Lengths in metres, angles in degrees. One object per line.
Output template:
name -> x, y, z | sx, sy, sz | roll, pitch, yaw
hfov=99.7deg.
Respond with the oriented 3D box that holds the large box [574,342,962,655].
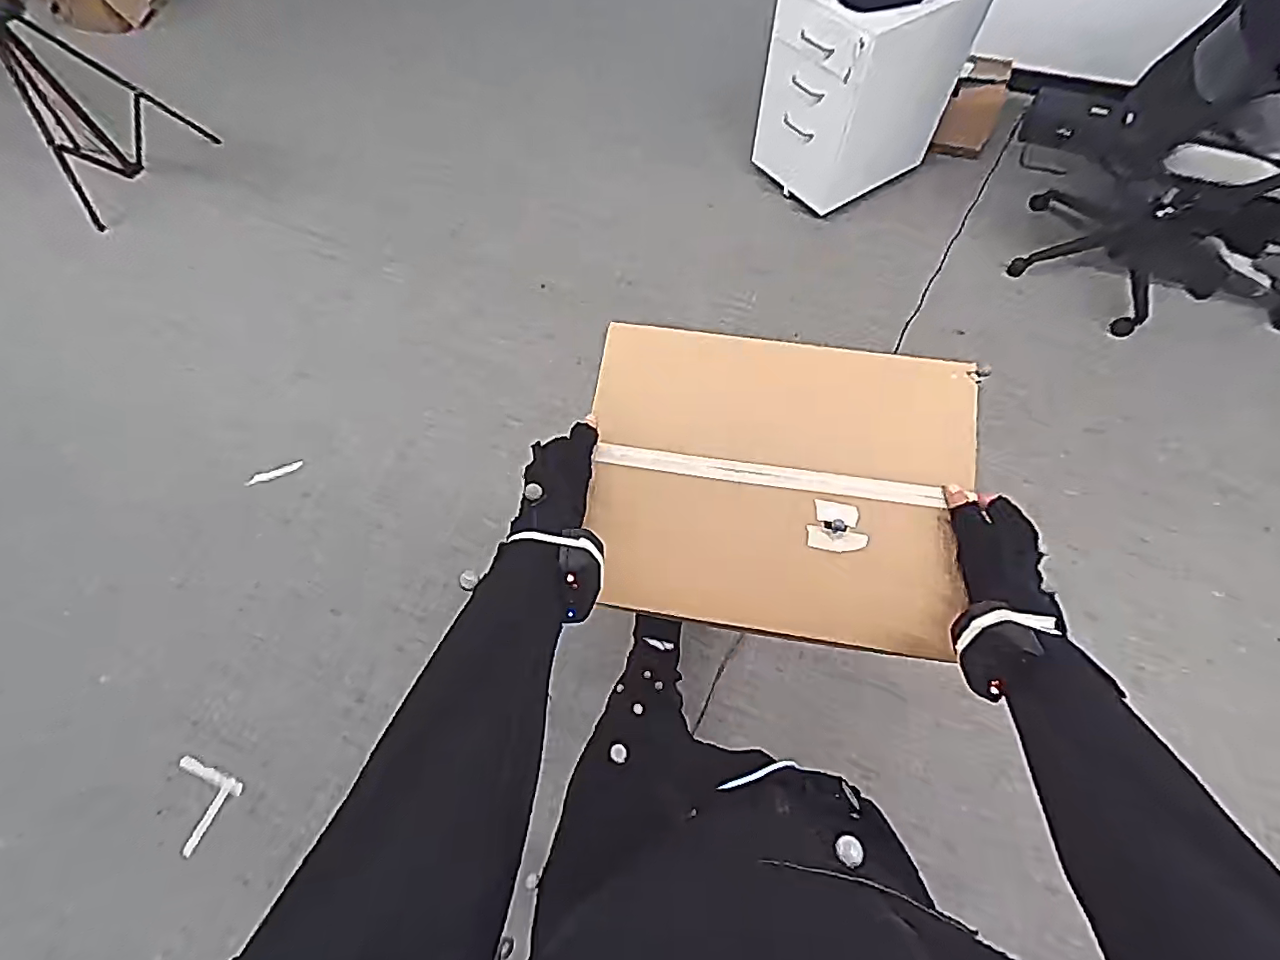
large box -> 0.150, 0.044, 0.735 | 0.408, 0.320, 0.320 | 8, 76, 5
